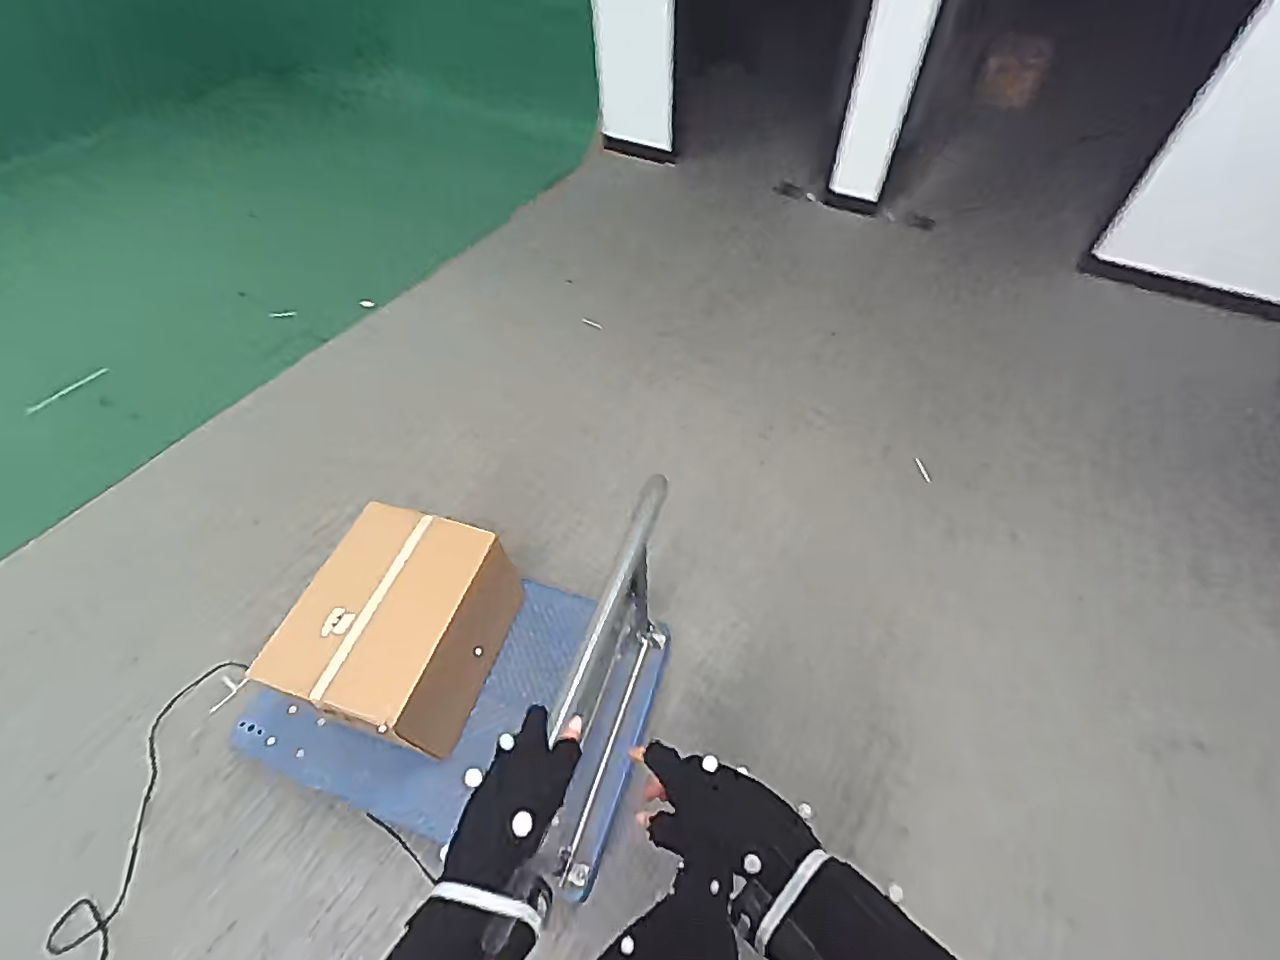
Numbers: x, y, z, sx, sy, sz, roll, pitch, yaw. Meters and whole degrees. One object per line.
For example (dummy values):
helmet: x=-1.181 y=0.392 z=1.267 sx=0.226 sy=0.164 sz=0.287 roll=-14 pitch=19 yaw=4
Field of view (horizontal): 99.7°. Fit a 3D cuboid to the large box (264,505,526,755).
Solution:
large box: x=-0.487 y=0.326 z=1.187 sx=0.320 sy=0.320 sz=0.408 roll=12 pitch=56 yaw=11
